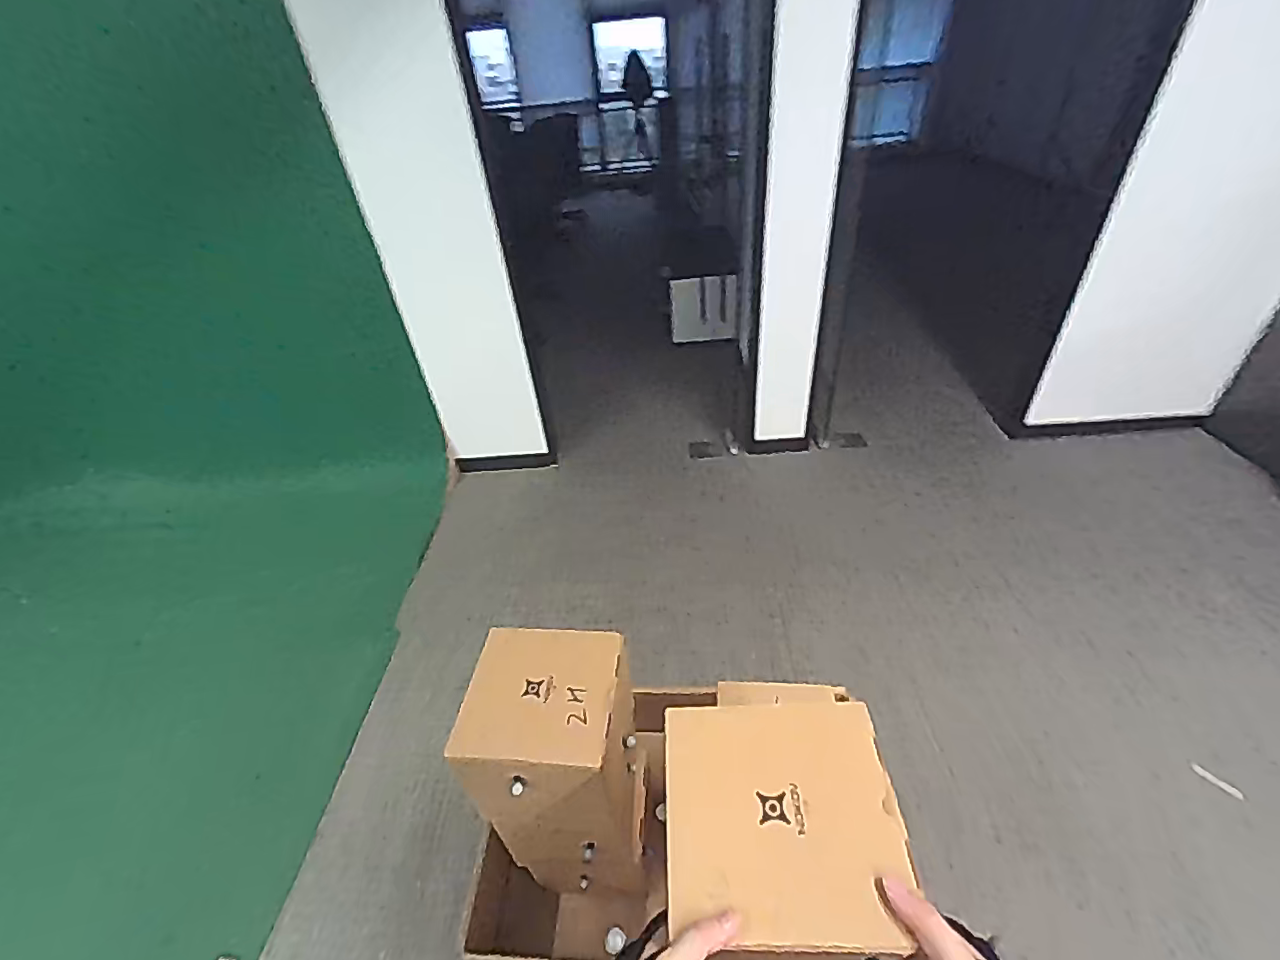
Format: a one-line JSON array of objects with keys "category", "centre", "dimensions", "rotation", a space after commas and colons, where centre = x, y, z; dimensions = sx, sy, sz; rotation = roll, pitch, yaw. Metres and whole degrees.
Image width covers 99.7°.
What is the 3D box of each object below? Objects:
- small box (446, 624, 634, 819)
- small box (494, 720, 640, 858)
[{"category": "small box", "centre": [-0.109, 0.302, 0.681], "dimensions": [0.179, 0.176, 0.168], "rotation": [1, 40, 8]}, {"category": "small box", "centre": [-0.092, 0.425, 0.789], "dimensions": [0.168, 0.176, 0.179], "rotation": [-1, 38, 6]}]
